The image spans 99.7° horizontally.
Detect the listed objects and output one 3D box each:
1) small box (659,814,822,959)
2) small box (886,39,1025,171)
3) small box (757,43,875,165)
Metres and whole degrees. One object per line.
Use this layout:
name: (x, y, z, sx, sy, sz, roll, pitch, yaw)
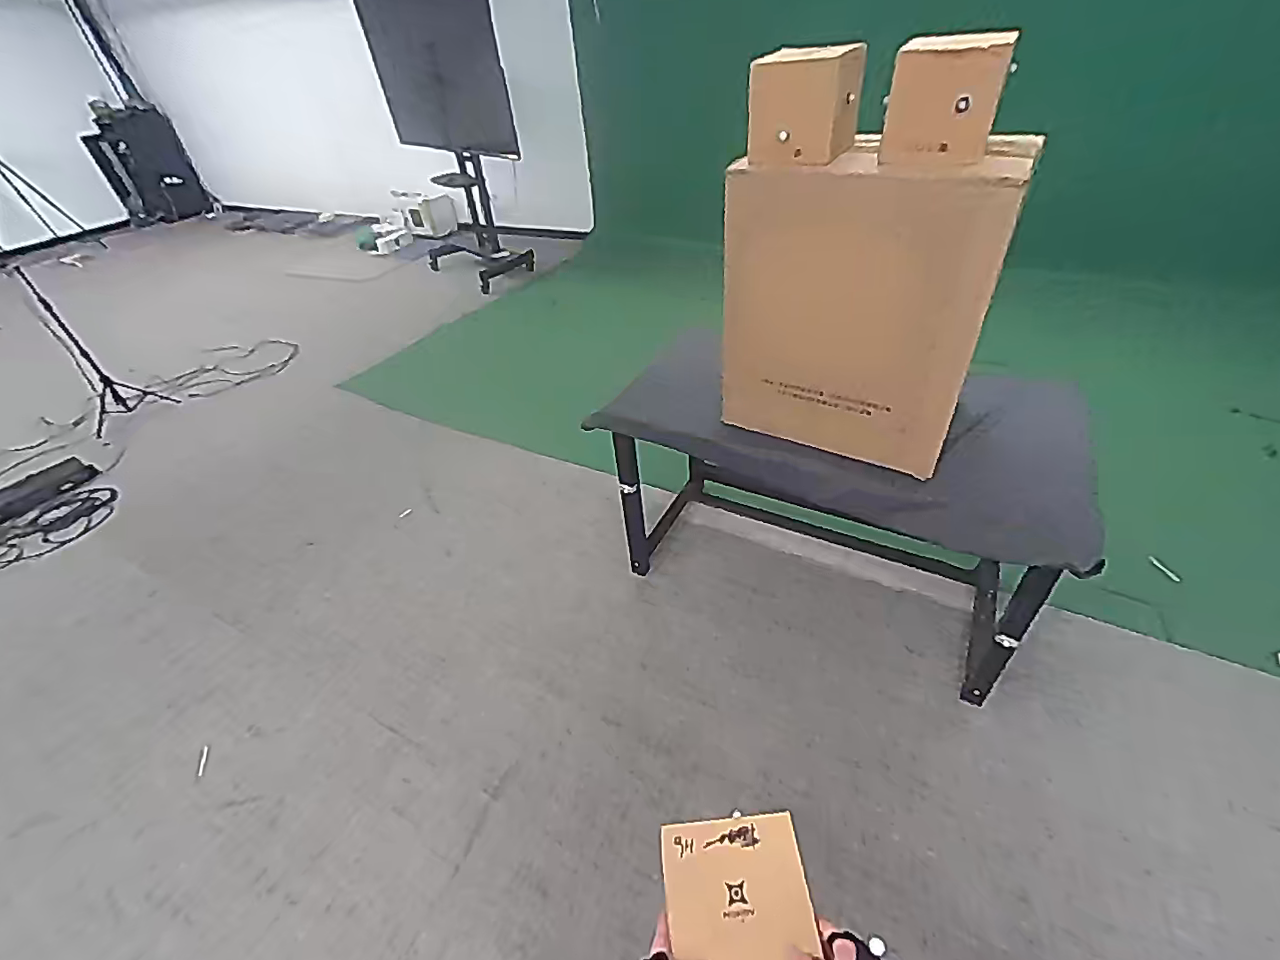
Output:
small box: (0.124, 0.555, 0.676, 0.168, 0.176, 0.179, -11, 39, 1)
small box: (0.552, -0.663, 0.958, 0.168, 0.176, 0.179, 19, 47, 22)
small box: (0.335, -0.731, 1.053, 0.168, 0.176, 0.179, 21, 48, 29)
